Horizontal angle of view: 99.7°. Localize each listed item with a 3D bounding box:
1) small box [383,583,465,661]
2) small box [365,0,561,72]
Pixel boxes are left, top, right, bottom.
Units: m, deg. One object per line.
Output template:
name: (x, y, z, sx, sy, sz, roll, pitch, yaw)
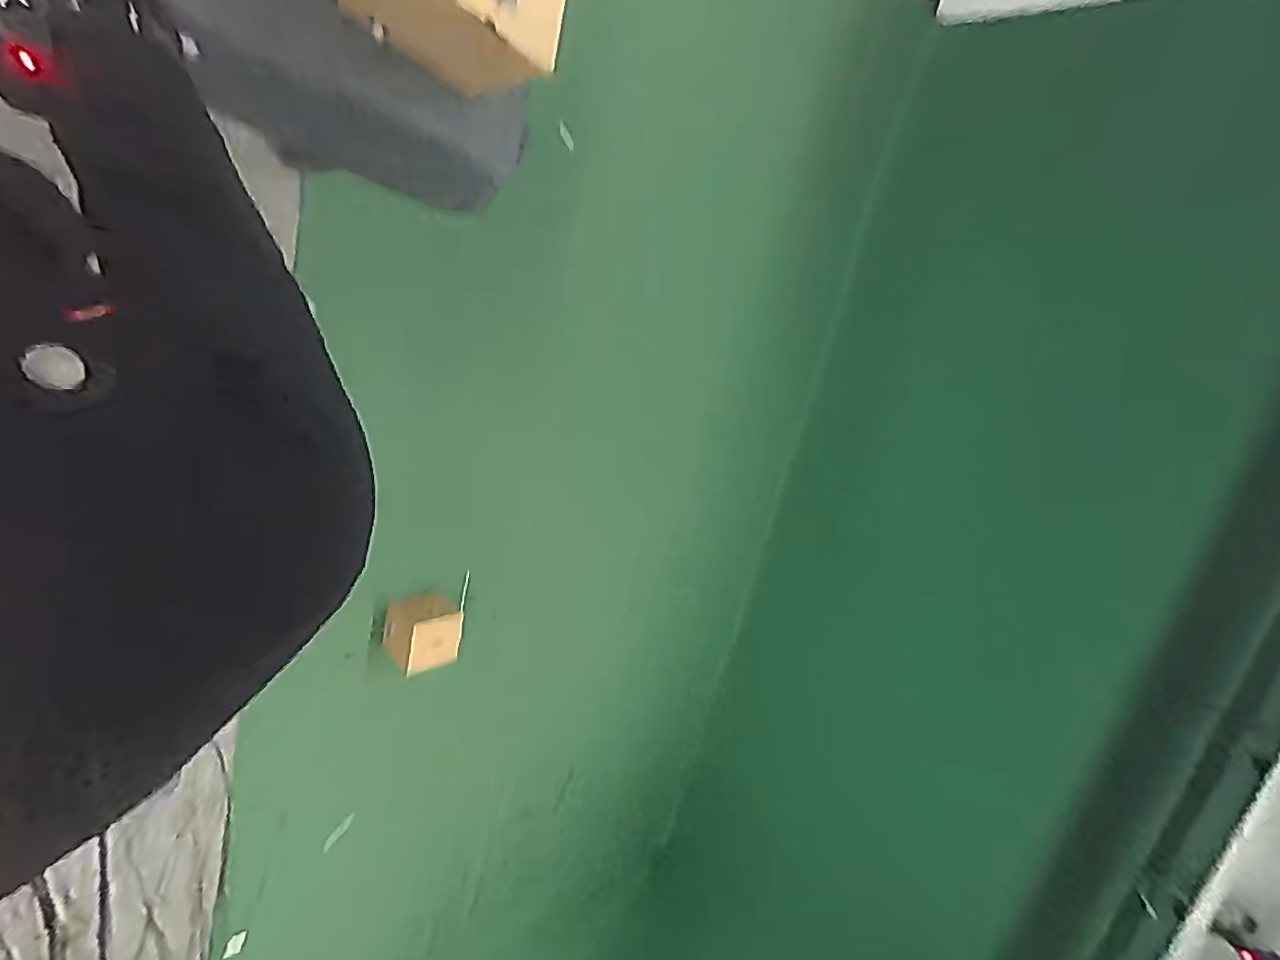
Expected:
small box: (-0.698, 0.448, 1.746, 0.179, 0.176, 0.168, -4, 111, -51)
small box: (-0.191, -0.571, 0.566, 0.168, 0.176, 0.179, 0, 107, -52)
